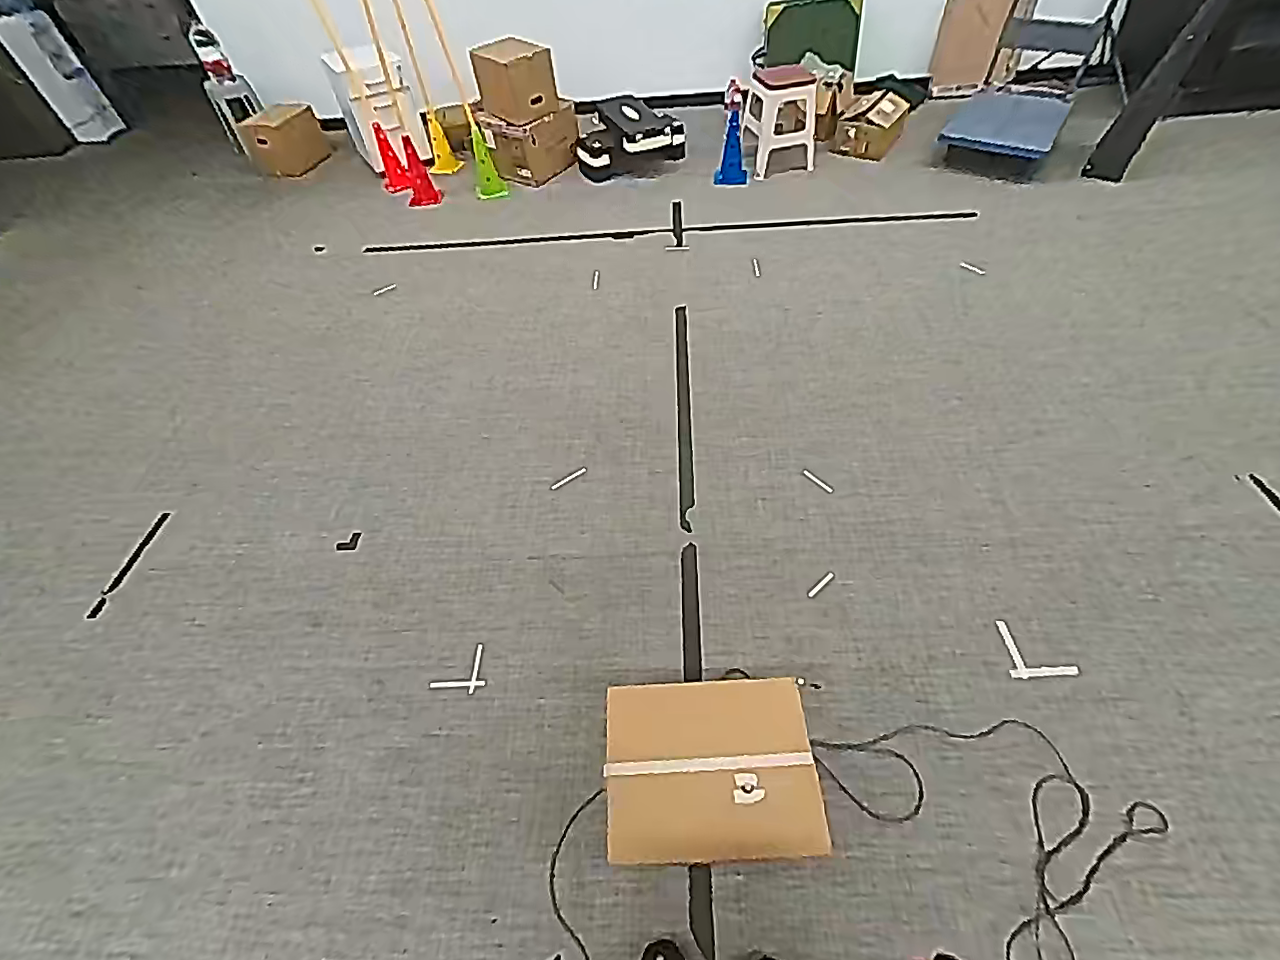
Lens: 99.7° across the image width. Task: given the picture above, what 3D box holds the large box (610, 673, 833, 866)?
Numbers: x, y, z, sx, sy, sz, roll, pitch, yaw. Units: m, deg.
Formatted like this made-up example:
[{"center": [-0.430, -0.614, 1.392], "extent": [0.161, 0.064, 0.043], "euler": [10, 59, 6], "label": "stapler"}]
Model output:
[{"center": [0.147, 0.631, 1.170], "extent": [0.408, 0.320, 0.320], "euler": [-3, 54, 1], "label": "large box"}]
